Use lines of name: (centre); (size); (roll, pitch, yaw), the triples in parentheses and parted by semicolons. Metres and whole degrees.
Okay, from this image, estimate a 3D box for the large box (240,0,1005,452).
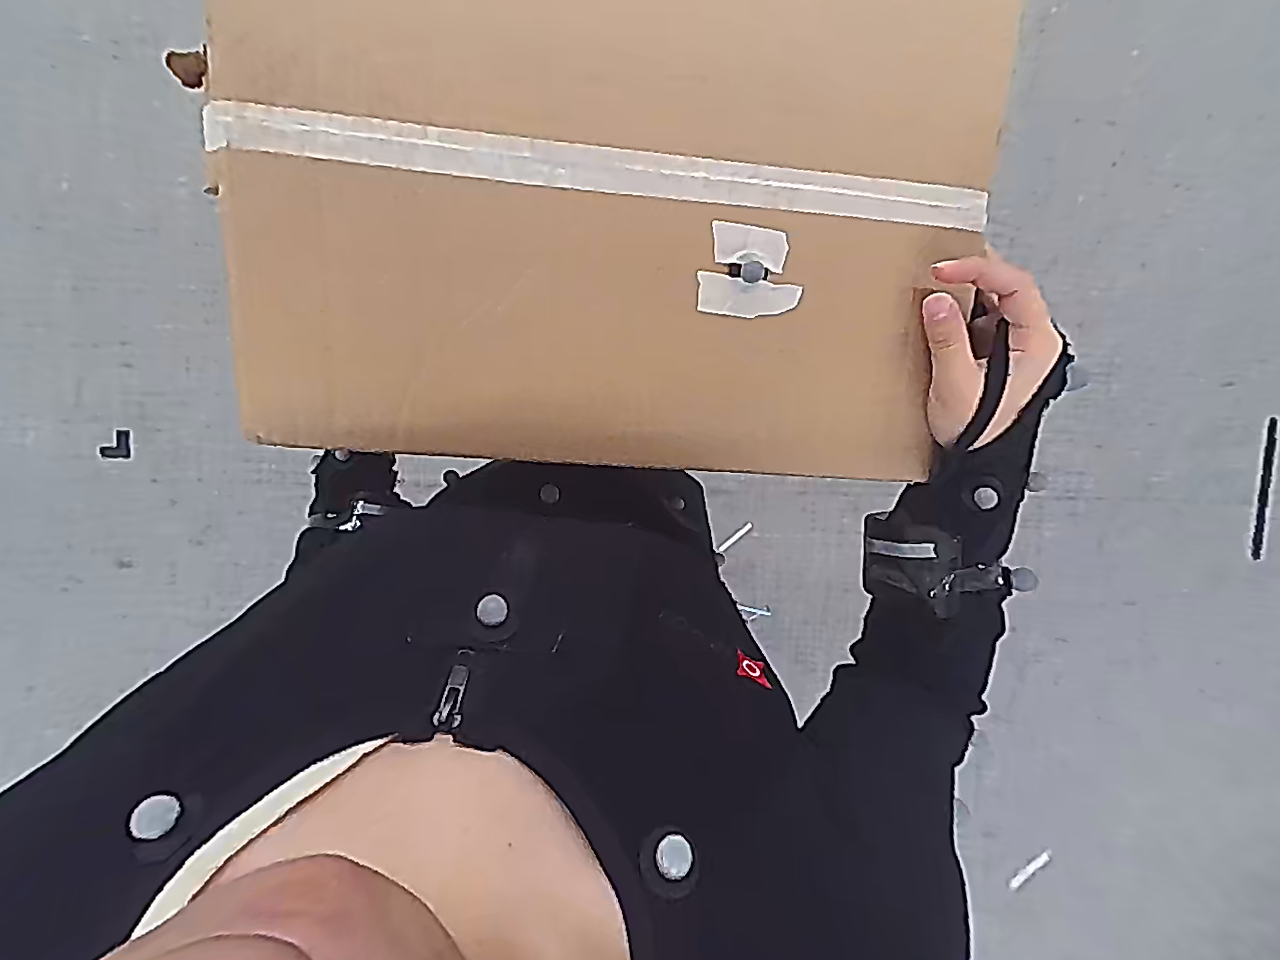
large box: (-0.020, -0.202, 0.439); (0.408, 0.320, 0.320); (3, 102, -8)
